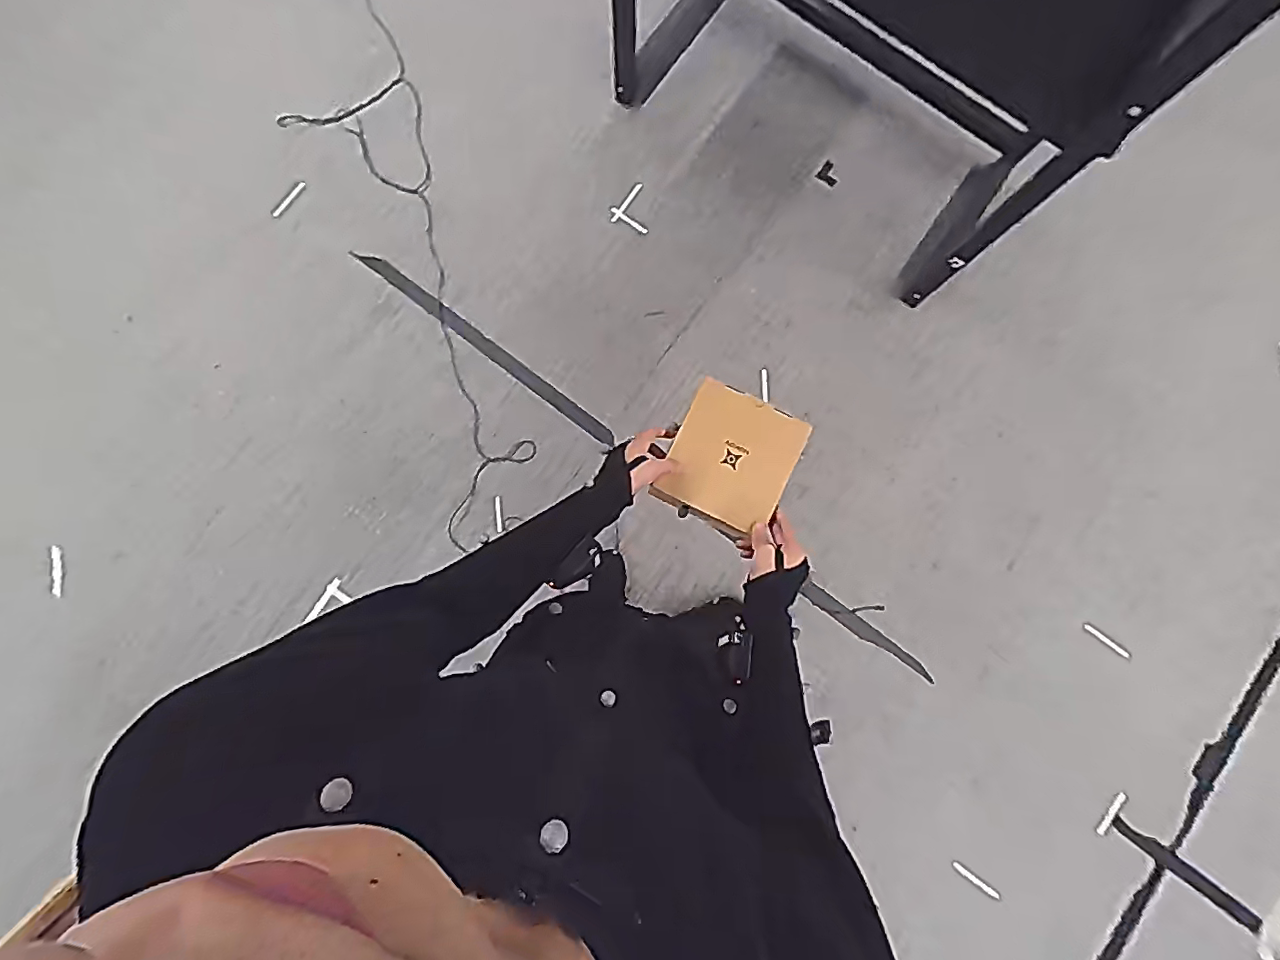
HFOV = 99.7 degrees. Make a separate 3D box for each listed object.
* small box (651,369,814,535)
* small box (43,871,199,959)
[{"bbox_3d":[0.125,-0.031,0.799,0.168,0.176,0.179,26,84,1],"label":"small box"},{"bbox_3d":[-1.015,0.922,1.048,0.168,0.176,0.179,43,87,3],"label":"small box"}]
